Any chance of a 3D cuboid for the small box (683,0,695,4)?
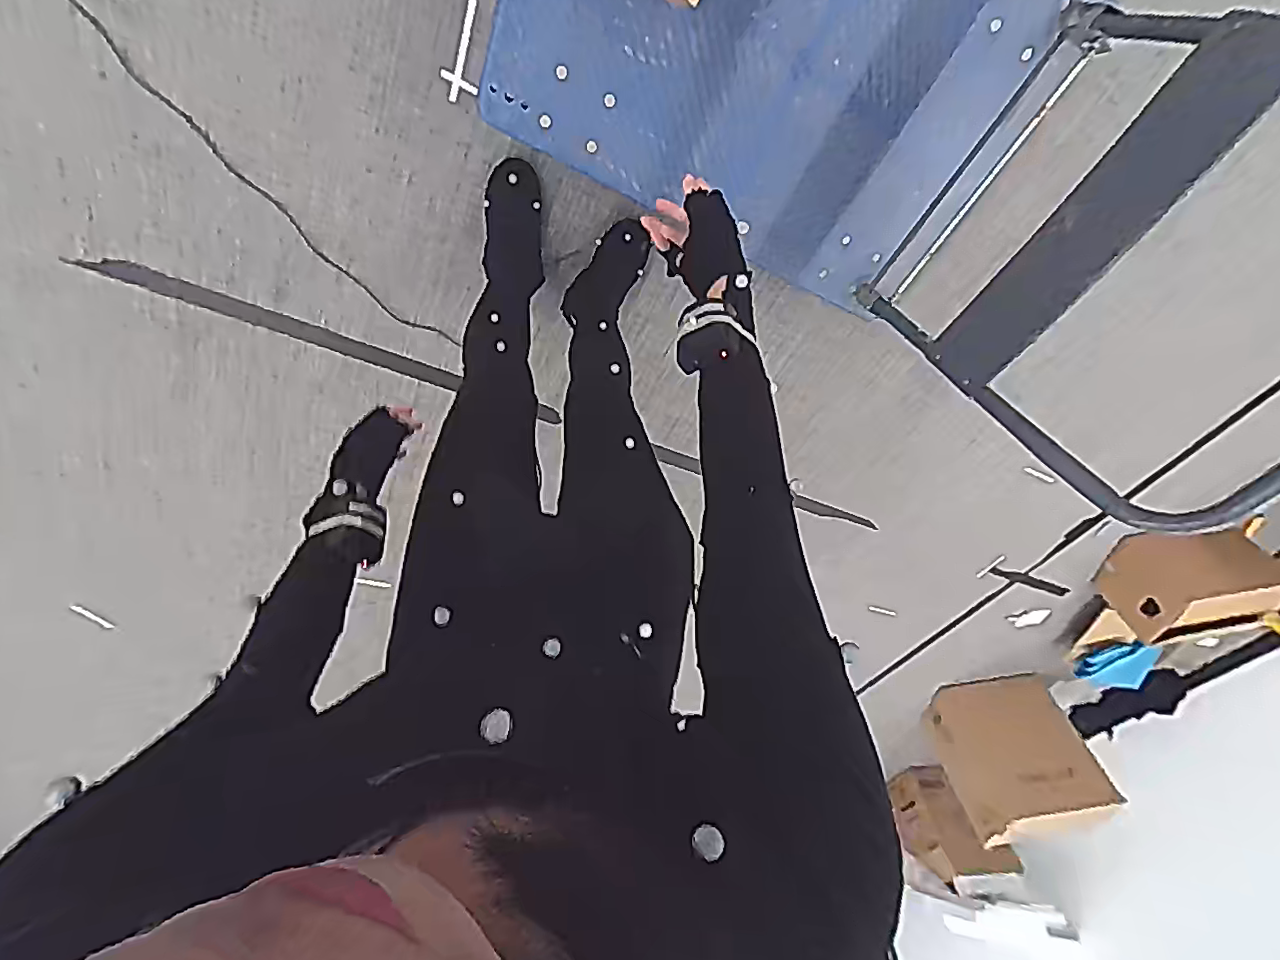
[{"bbox_3d":[0.032,-0.710,0.634,0.179,0.176,0.168,25,123,-29],"label":"small box"}]
